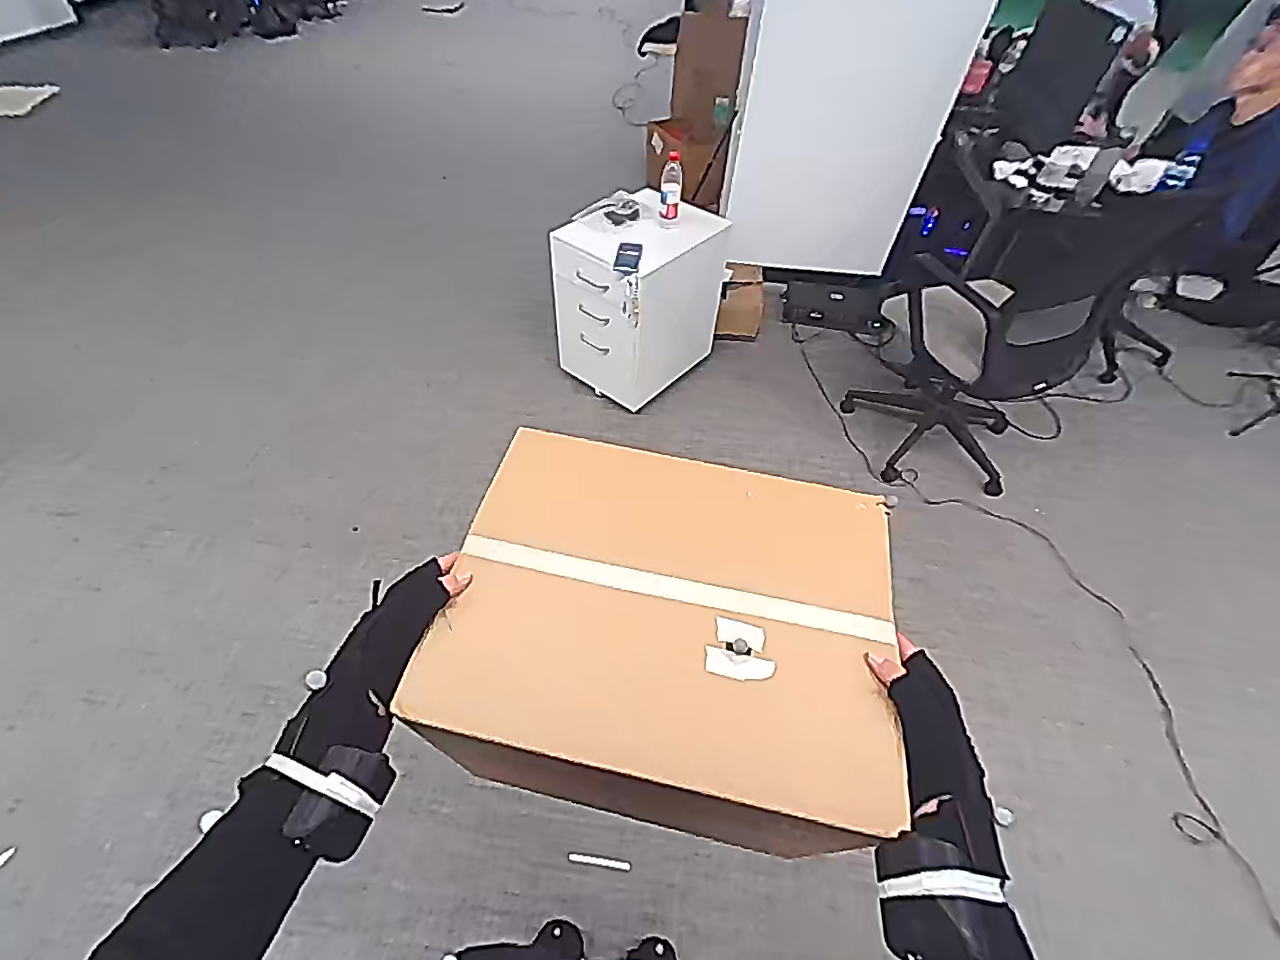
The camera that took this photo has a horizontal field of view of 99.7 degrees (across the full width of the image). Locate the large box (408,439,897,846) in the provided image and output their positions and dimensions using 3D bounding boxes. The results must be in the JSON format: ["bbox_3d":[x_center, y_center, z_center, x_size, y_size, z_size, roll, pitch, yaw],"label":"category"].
[{"bbox_3d":[0.022,0.195,0.631,0.408,0.320,0.320,12,55,5],"label":"large box"}]
